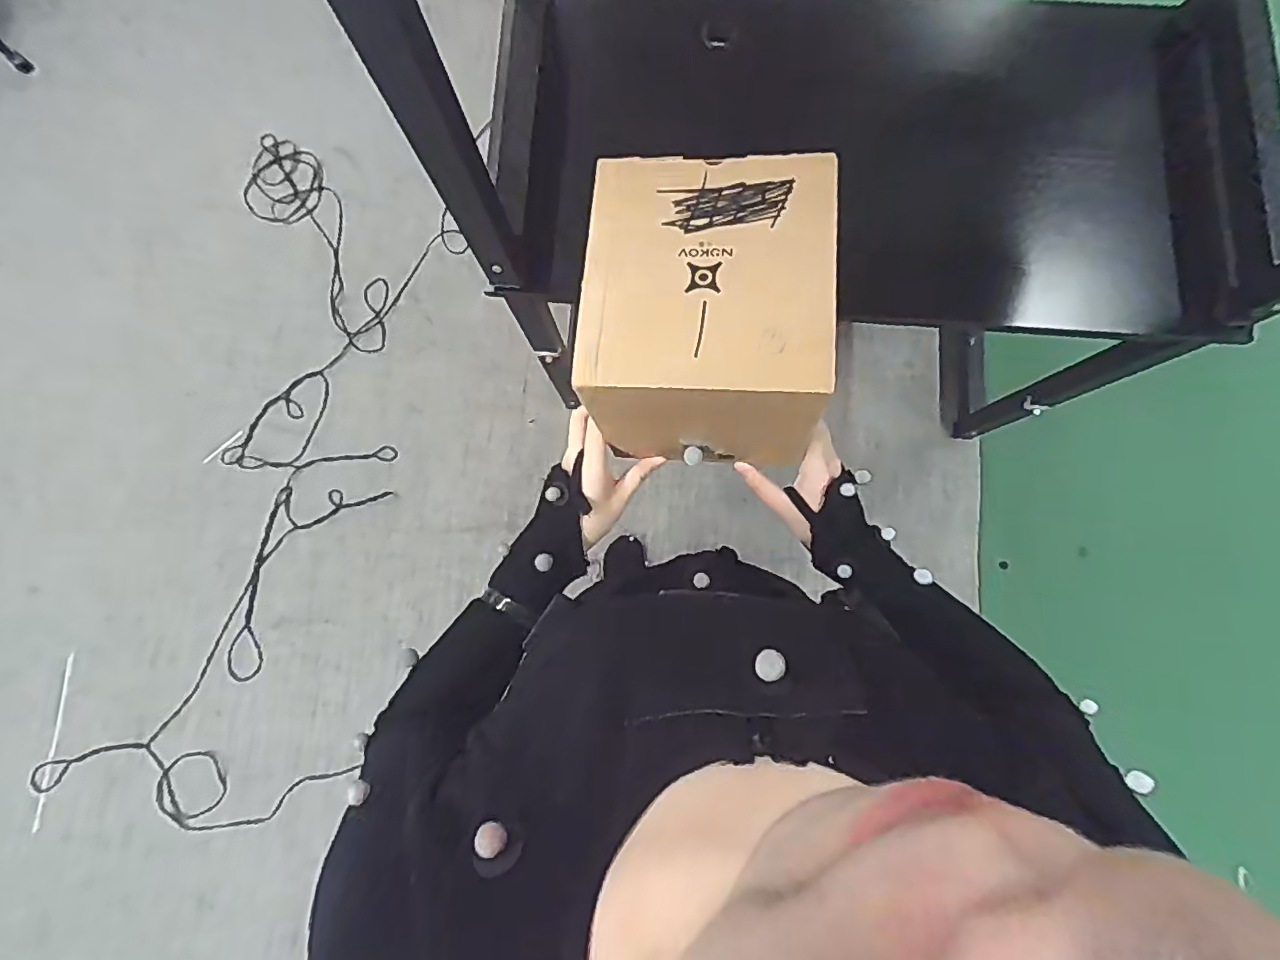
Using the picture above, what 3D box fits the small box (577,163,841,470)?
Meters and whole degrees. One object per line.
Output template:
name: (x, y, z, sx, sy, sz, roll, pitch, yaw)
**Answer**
small box: (0.057, -0.117, 0.434, 0.168, 0.176, 0.179, 3, 77, 9)
